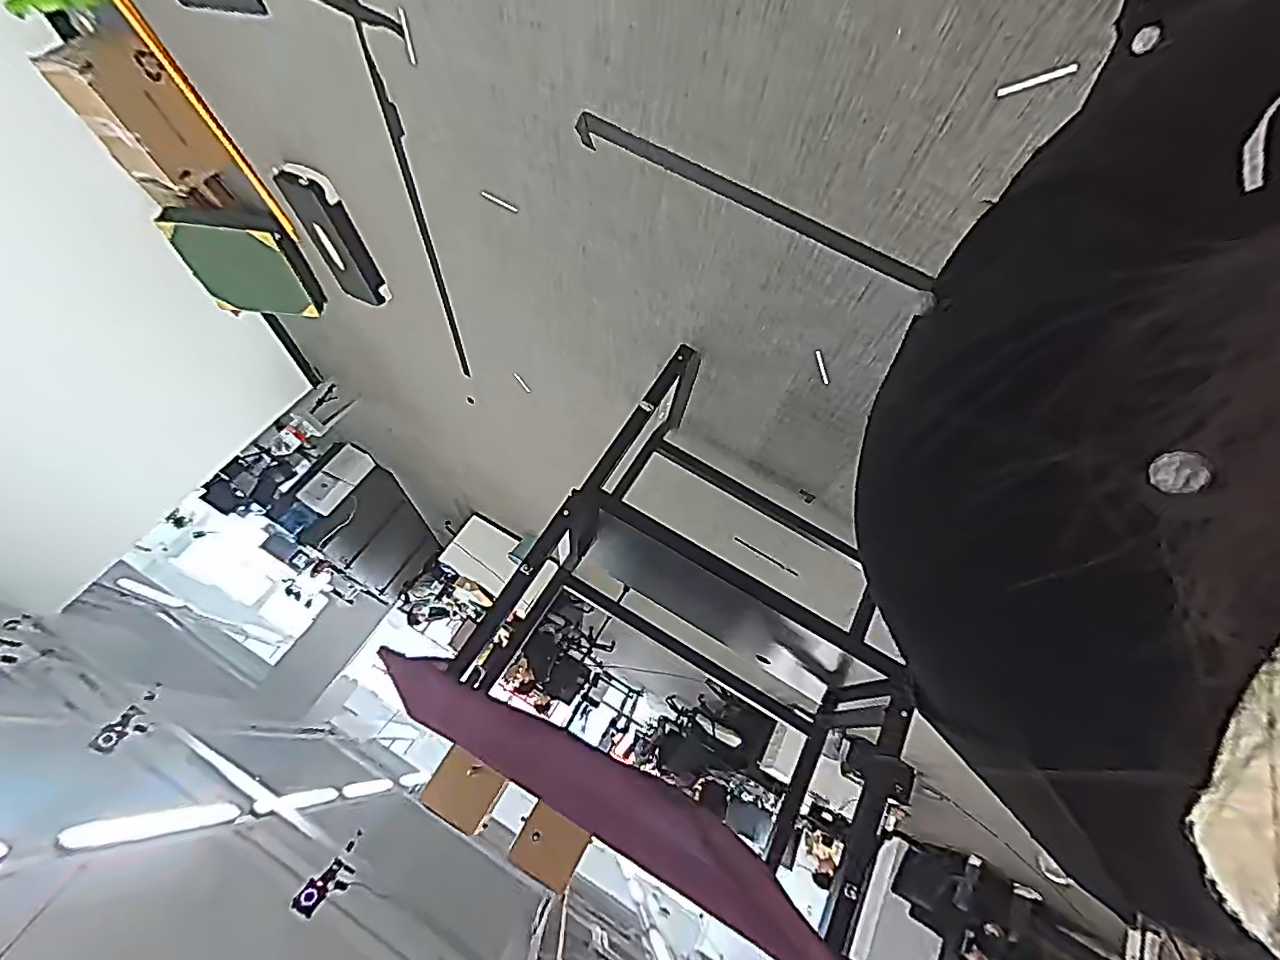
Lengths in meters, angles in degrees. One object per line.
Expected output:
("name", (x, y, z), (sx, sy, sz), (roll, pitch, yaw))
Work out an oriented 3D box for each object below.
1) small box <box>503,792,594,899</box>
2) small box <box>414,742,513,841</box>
("small box", (-0.244, 0.977, 1.464), (0.179, 0.176, 0.168), (30, 155, 7))
("small box", (-0.471, 0.832, 1.466), (0.179, 0.176, 0.168), (29, 155, 9))
